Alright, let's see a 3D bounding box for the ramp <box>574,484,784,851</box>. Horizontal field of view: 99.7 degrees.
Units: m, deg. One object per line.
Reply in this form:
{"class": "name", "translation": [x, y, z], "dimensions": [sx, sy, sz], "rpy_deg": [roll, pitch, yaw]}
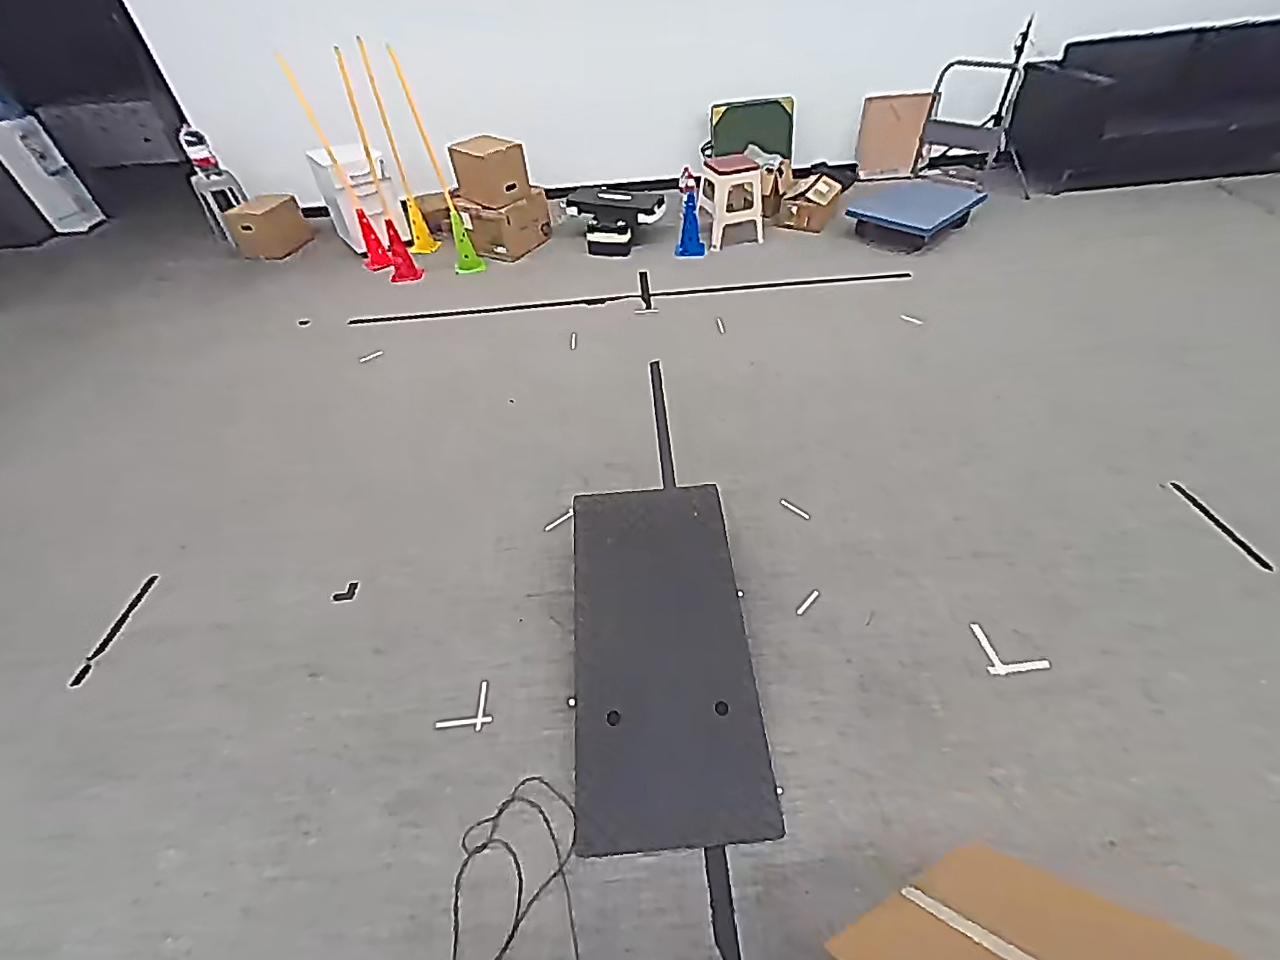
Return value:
{"class": "ramp", "translation": [0.063, 0.446, 1.559], "dimensions": [0.509, 0.206, 0.991], "rpy_deg": [-6, 45, -3]}

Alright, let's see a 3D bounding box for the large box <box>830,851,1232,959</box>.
{"class": "large box", "translation": [0.504, 0.722, 0.621], "dimensions": [0.320, 0.408, 0.320], "rpy_deg": [-16, 78, -17]}
